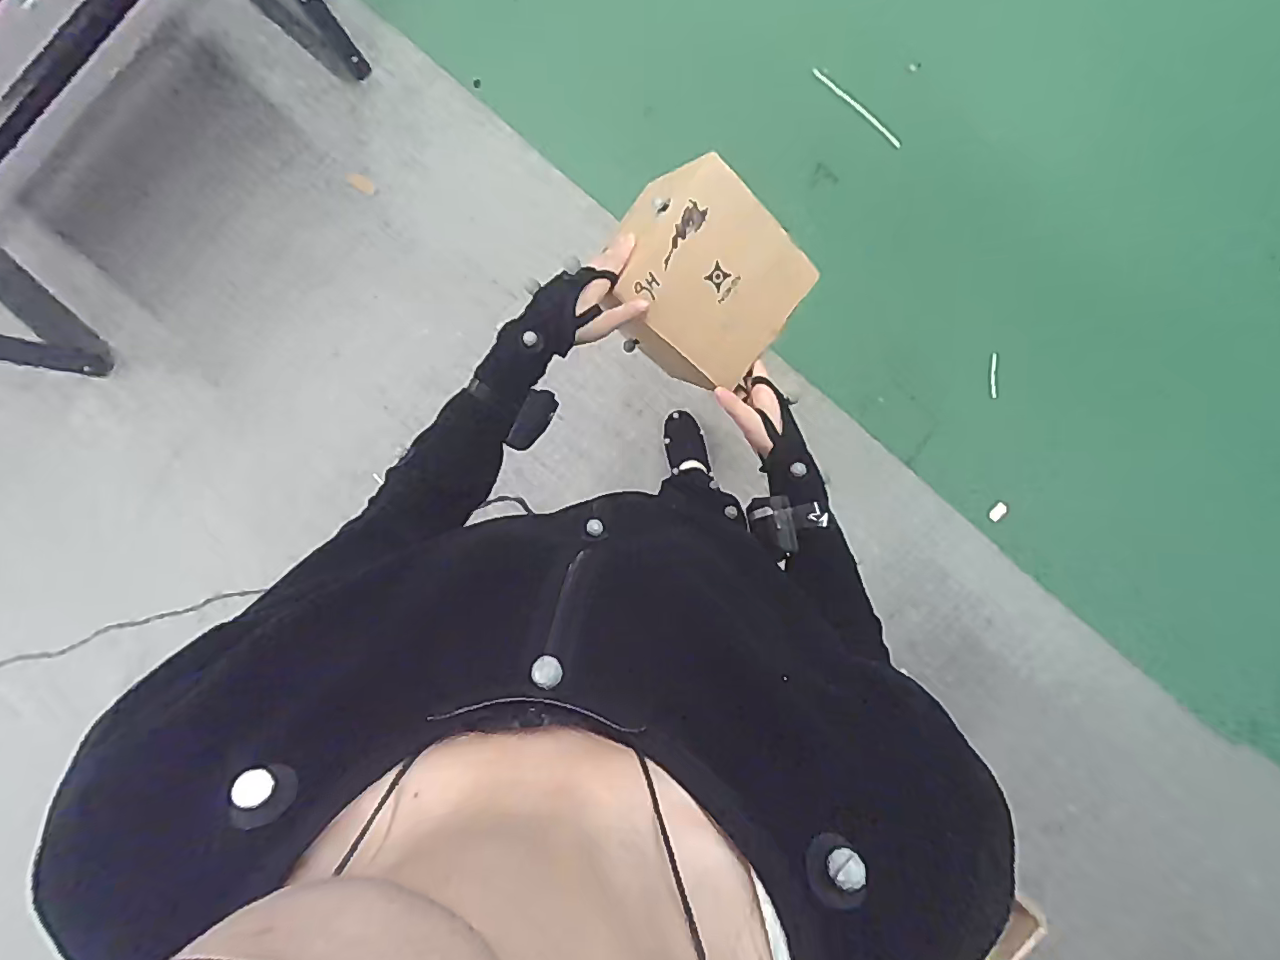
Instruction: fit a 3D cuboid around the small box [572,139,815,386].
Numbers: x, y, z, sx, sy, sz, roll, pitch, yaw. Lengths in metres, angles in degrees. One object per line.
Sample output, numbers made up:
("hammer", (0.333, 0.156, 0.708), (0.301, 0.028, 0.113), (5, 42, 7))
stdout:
("small box", (0.050, -0.233, 0.608), (0.179, 0.176, 0.168), (35, 93, -27))
